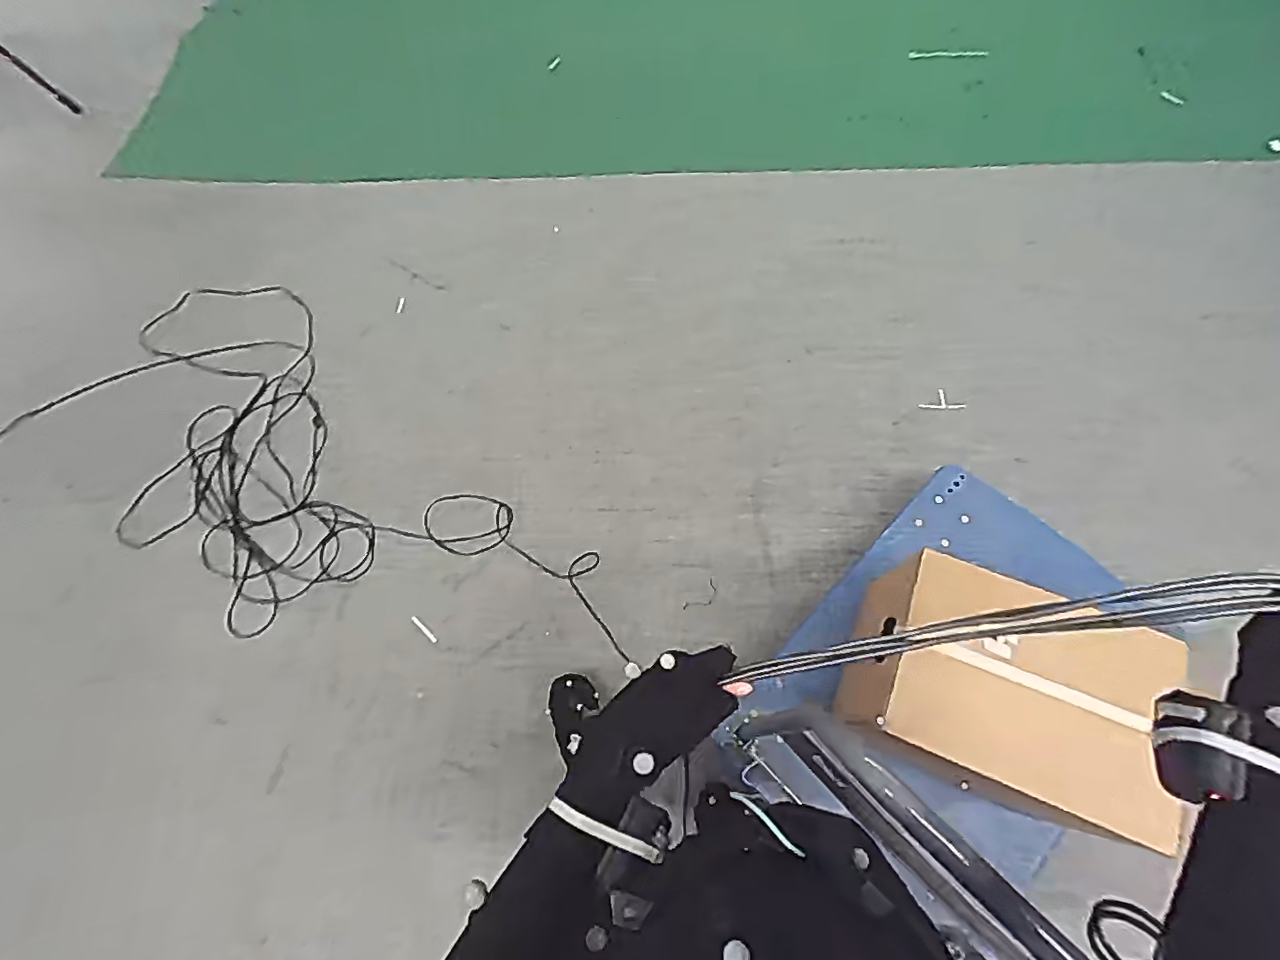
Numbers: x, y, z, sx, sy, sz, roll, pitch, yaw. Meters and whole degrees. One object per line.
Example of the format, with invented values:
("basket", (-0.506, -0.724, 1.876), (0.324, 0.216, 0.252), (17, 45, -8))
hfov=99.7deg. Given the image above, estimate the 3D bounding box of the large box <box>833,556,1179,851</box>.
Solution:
("large box", (0.623, 0.383, 0.981), (0.408, 0.320, 0.320), (21, 69, 13))
